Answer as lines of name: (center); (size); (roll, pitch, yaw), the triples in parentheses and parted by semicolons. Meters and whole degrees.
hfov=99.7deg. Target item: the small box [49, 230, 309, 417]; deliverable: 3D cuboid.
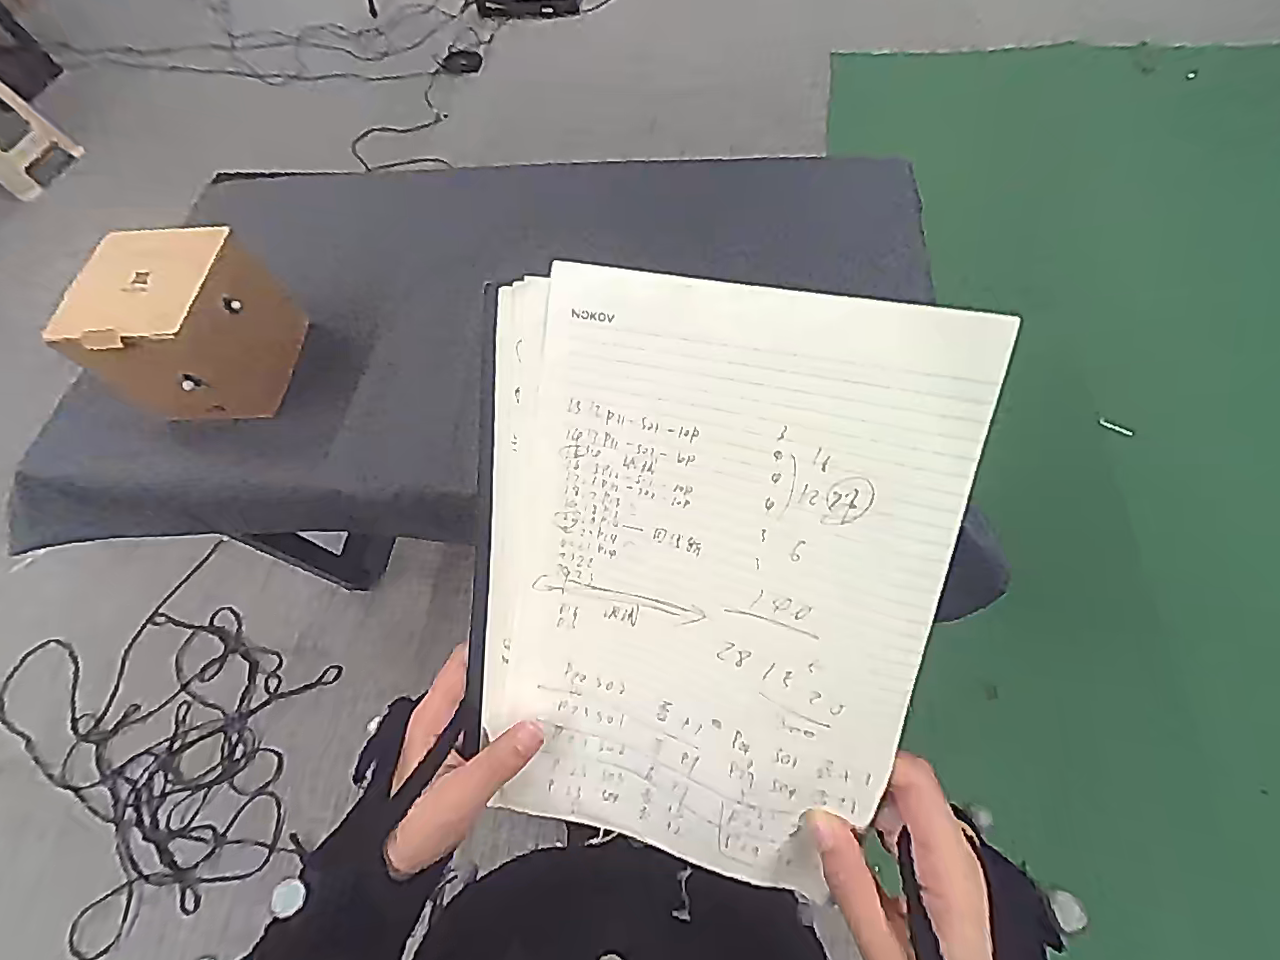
small box: (-0.575, -0.194, 0.708); (0.168, 0.176, 0.179); (-1, 62, 4)
